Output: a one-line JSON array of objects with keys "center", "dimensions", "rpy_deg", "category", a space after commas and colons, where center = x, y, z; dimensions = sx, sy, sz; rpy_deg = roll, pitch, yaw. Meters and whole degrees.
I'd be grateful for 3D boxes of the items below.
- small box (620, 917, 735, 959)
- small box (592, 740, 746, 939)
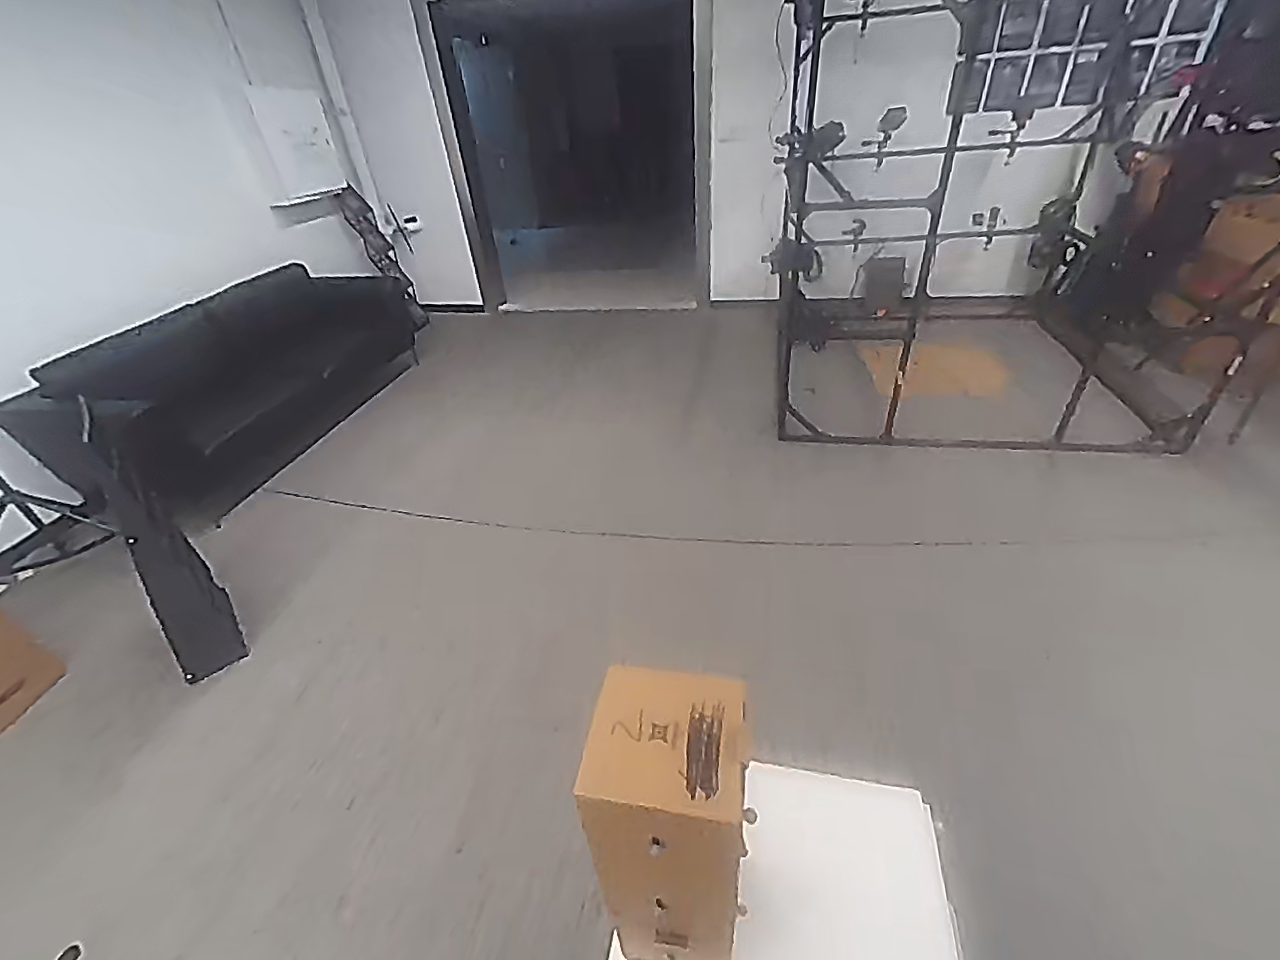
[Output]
[{"center": [0.066, 0.621, 0.840], "dimensions": [0.168, 0.176, 0.179], "rpy_deg": [3, 36, 13], "category": "small box"}, {"center": [0.050, 0.491, 0.741], "dimensions": [0.179, 0.176, 0.168], "rpy_deg": [3, 36, 13], "category": "small box"}]
